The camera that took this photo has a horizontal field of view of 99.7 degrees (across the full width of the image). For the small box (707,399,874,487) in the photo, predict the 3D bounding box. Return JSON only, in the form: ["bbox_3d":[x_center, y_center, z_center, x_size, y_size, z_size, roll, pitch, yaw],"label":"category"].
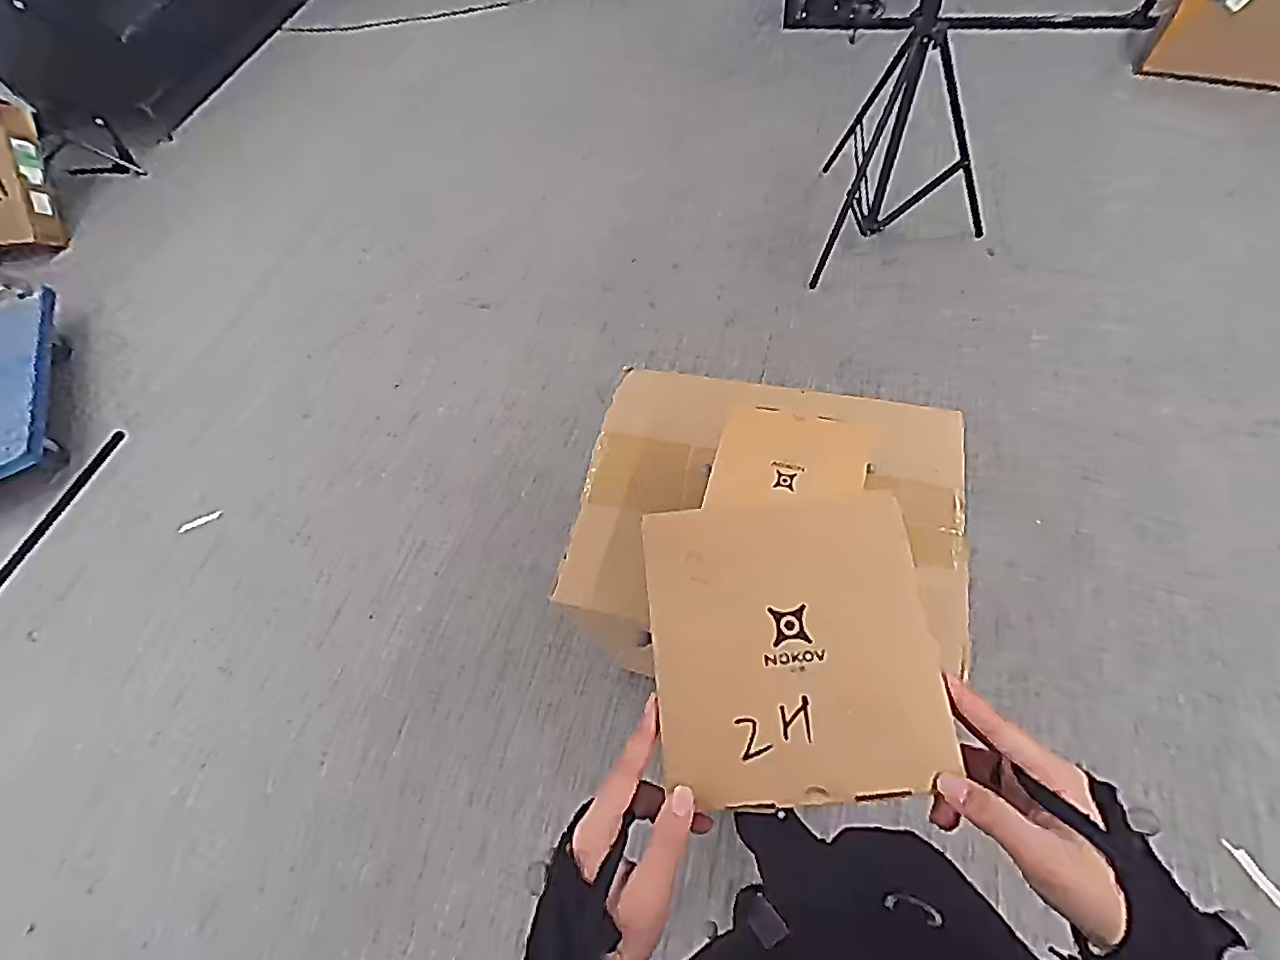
[{"bbox_3d":[0.173,0.029,0.663,0.168,0.176,0.179,12,64,14],"label":"small box"}]

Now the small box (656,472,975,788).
[{"bbox_3d":[0.100,0.108,0.396,0.168,0.176,0.179,-5,71,3],"label":"small box"}]
